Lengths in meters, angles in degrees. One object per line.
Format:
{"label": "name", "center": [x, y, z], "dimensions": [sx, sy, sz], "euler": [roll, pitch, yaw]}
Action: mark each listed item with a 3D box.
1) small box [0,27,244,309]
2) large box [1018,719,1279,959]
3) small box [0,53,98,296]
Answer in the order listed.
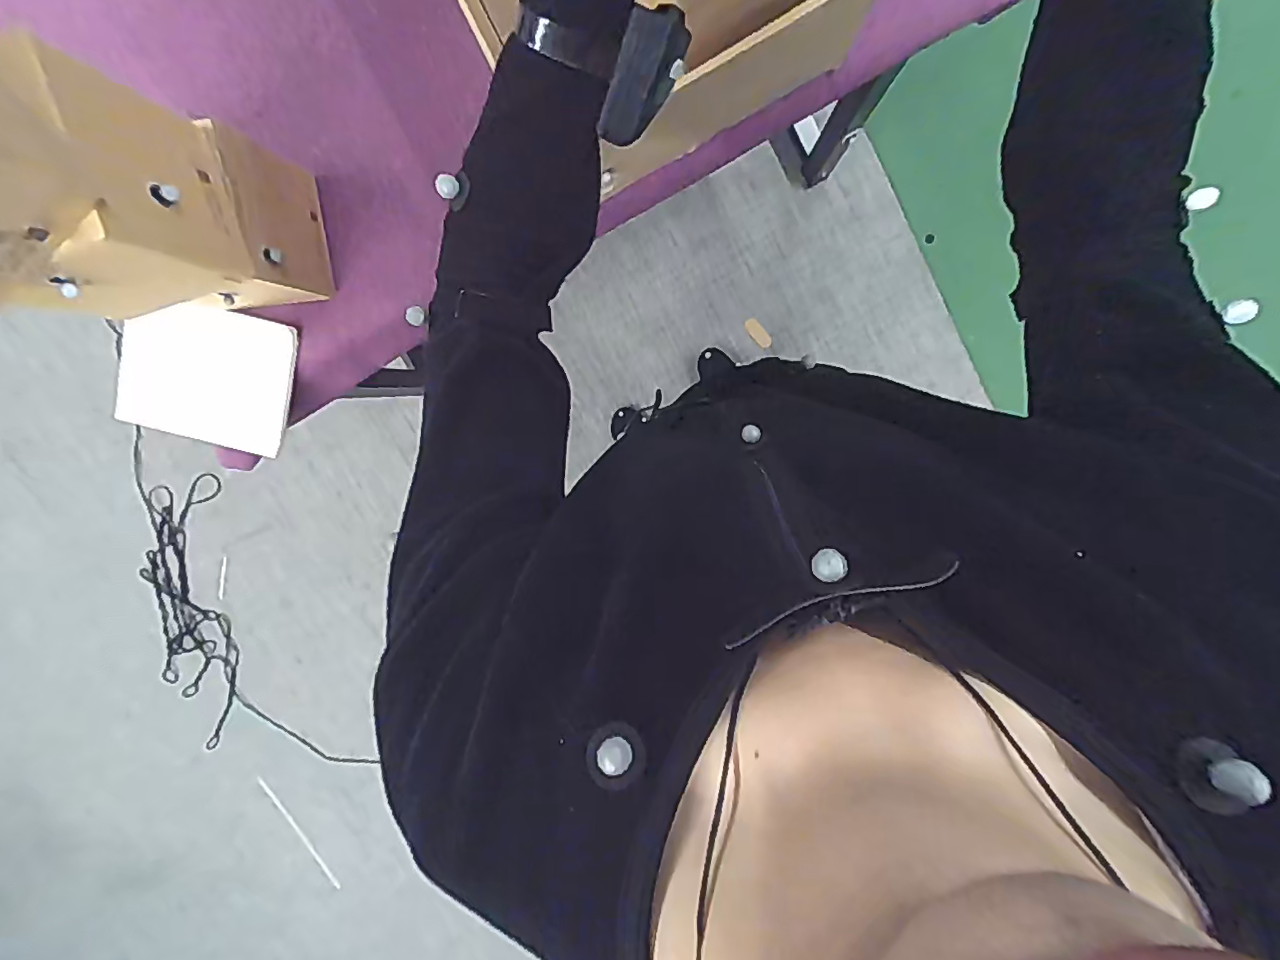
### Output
{"label": "small box", "center": [-0.537, -0.278, 0.529], "dimensions": [0.179, 0.176, 0.168], "euler": [-13, 98, 7]}
{"label": "large box", "center": [1.332, 0.930, 1.413], "dimensions": [0.408, 0.320, 0.320], "euler": [-42, 94, 9]}
{"label": "small box", "center": [-0.556, -0.249, 0.368], "dimensions": [0.168, 0.176, 0.179], "euler": [-36, 95, 10]}
